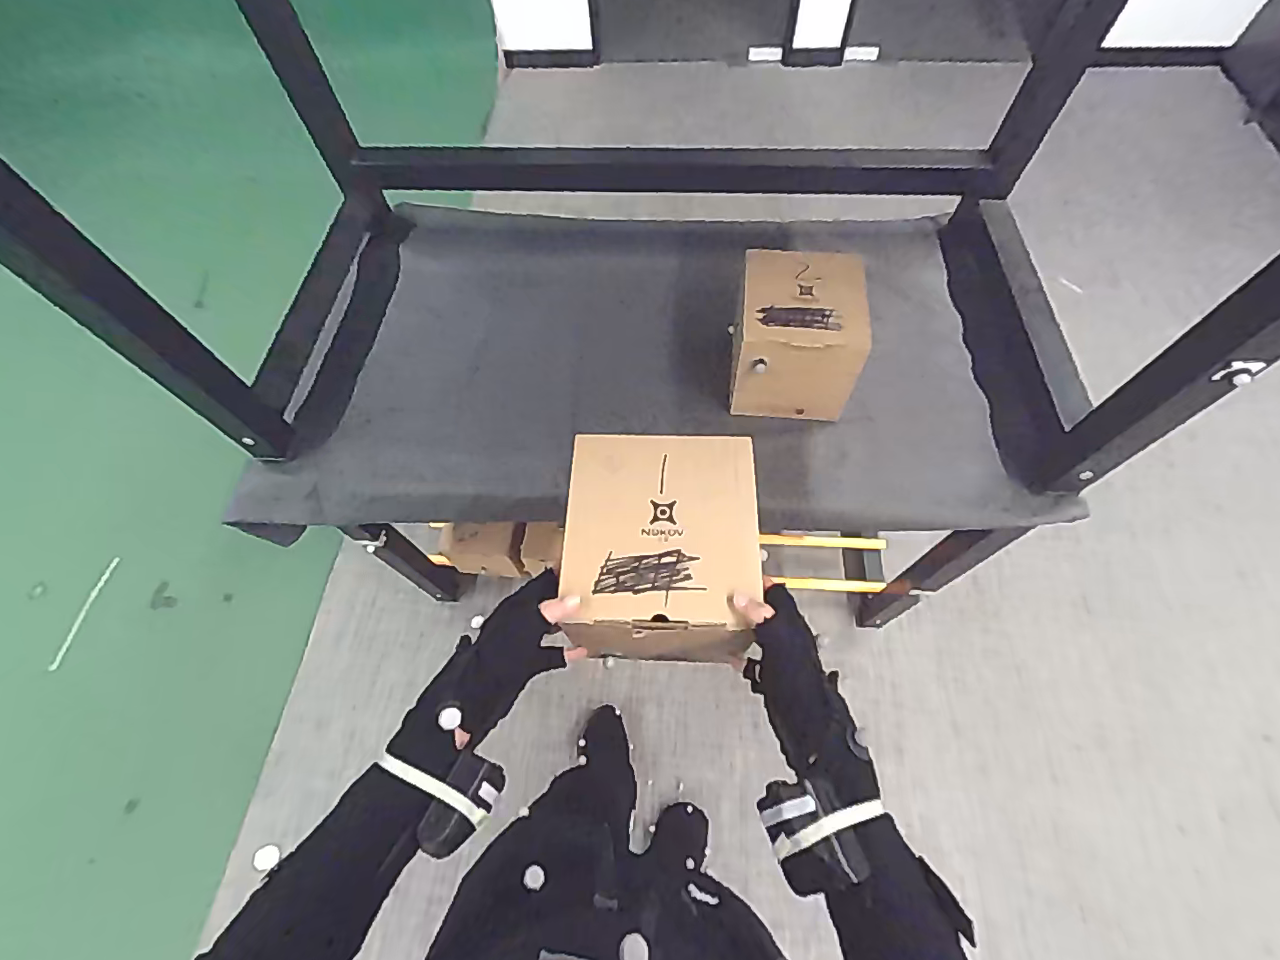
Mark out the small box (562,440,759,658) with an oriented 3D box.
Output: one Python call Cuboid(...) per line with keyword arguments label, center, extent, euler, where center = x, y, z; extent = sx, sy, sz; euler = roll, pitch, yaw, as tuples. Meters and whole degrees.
Cuboid(label="small box", center=(0.024, 0.077, 0.550), extent=(0.168, 0.176, 0.179), euler=(1, 61, 3))
